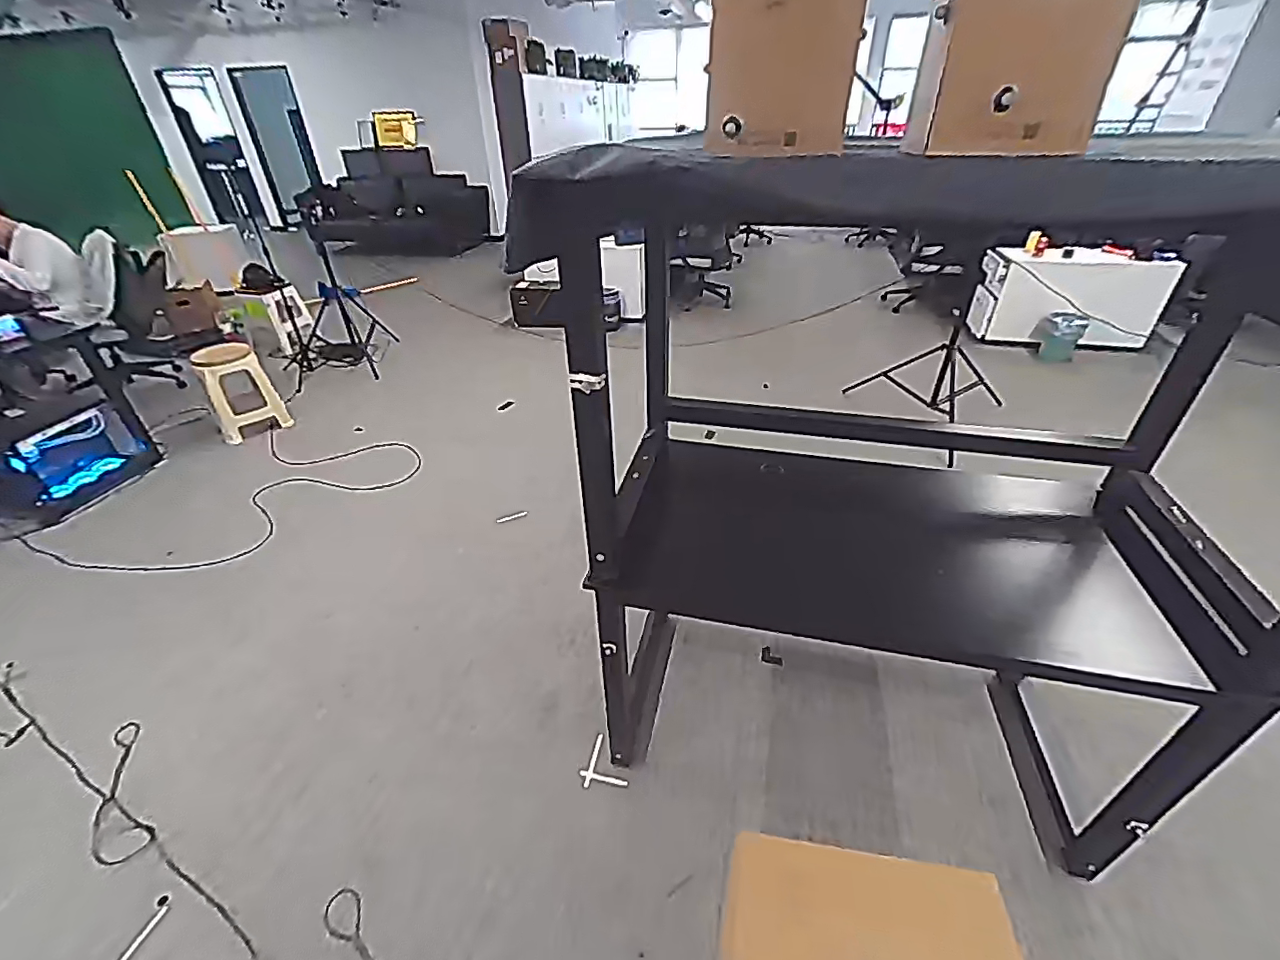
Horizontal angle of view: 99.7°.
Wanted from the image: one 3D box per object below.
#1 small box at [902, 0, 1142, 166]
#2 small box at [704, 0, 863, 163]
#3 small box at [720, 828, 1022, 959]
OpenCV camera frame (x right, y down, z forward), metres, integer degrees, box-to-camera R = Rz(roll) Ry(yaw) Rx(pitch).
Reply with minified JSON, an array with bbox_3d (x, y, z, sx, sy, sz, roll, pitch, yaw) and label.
[{"bbox_3d":[0.424,-0.471,0.634,0.168,0.176,0.179,7,34,12],"label":"small box"},{"bbox_3d":[0.174,-0.499,0.681,0.168,0.176,0.179,7,33,9],"label":"small box"},{"bbox_3d":[0.133,0.360,0.335,0.168,0.176,0.179,4,35,9],"label":"small box"}]
